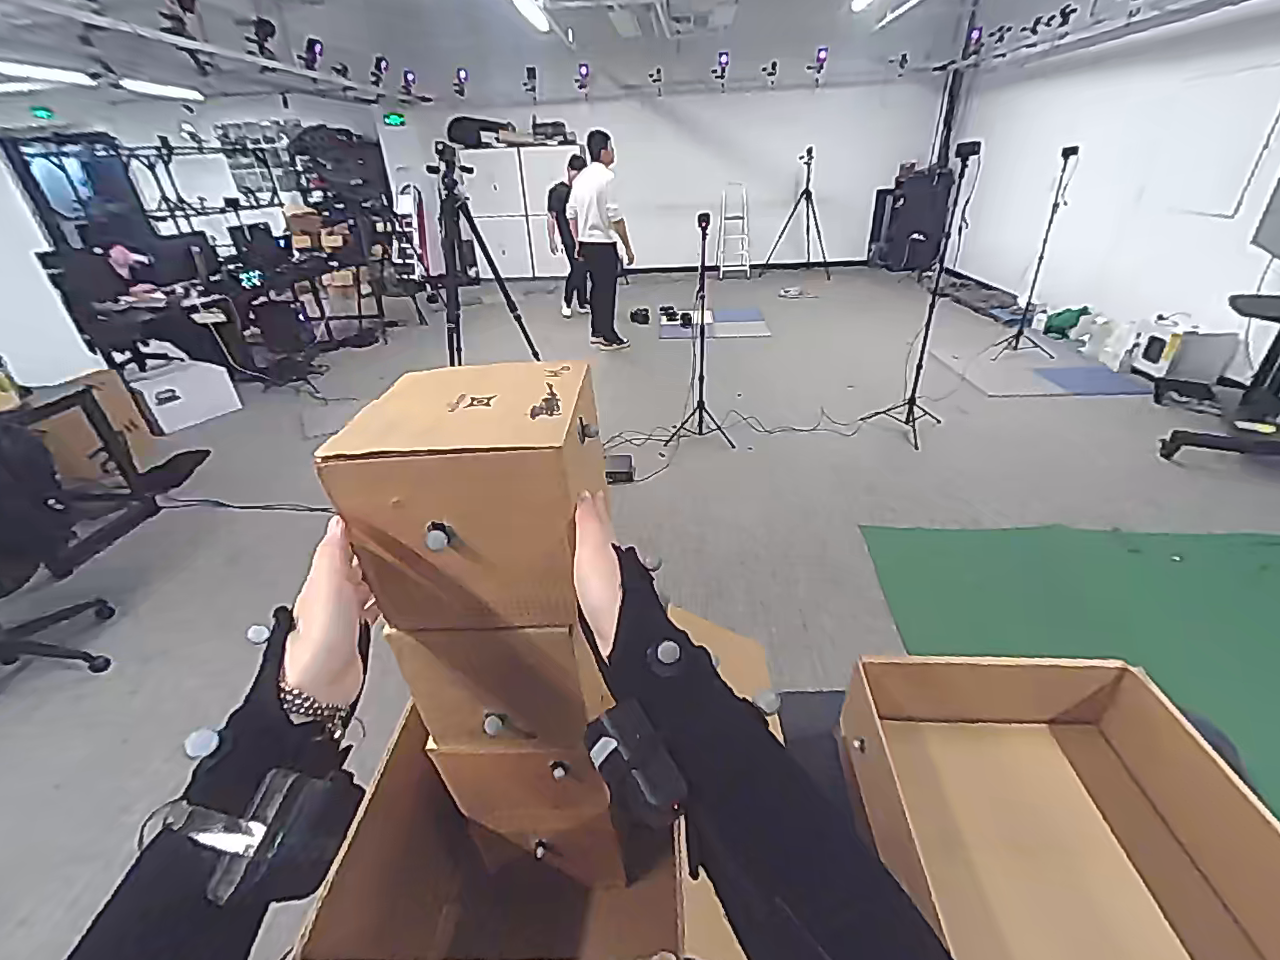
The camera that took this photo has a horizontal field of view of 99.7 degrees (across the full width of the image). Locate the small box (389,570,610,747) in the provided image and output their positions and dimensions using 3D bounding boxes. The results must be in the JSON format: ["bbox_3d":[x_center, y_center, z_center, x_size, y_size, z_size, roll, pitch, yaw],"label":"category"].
[{"bbox_3d":[-0.126,0.149,0.568,0.168,0.176,0.179,-2,34,5],"label":"small box"}]

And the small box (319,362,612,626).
[{"bbox_3d":[-0.126,0.011,0.472,0.179,0.176,0.168,-3,33,4],"label":"small box"}]
